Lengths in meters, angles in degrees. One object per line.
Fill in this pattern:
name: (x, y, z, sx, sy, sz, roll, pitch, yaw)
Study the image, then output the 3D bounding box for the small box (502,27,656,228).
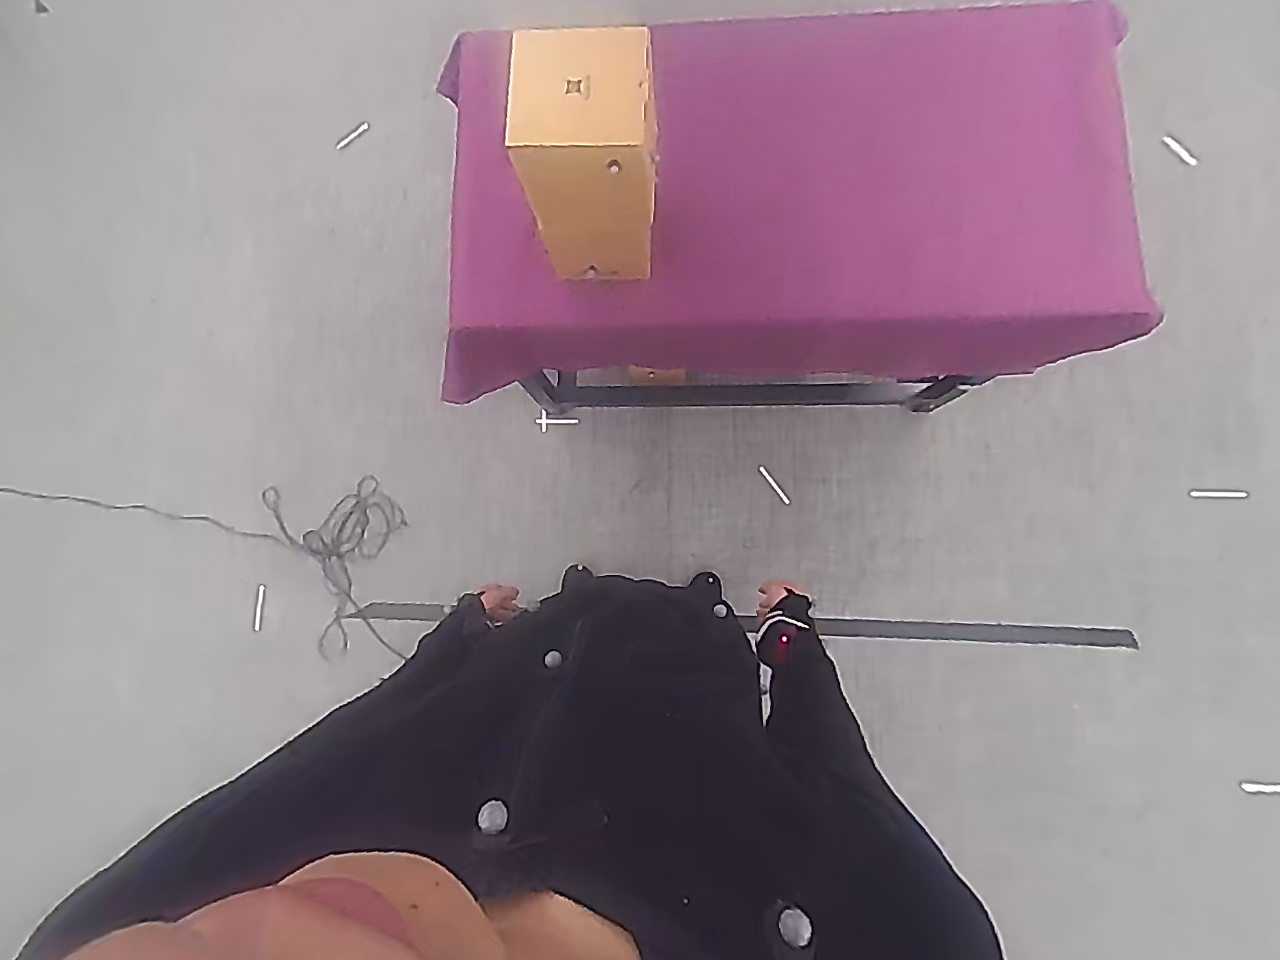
small box: (-0.072, -0.468, 0.741, 0.179, 0.176, 0.168, 2, 83, 4)

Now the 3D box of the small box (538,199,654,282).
small box: (-0.065, -0.454, 0.903, 0.168, 0.176, 0.179, 1, 84, 4)
